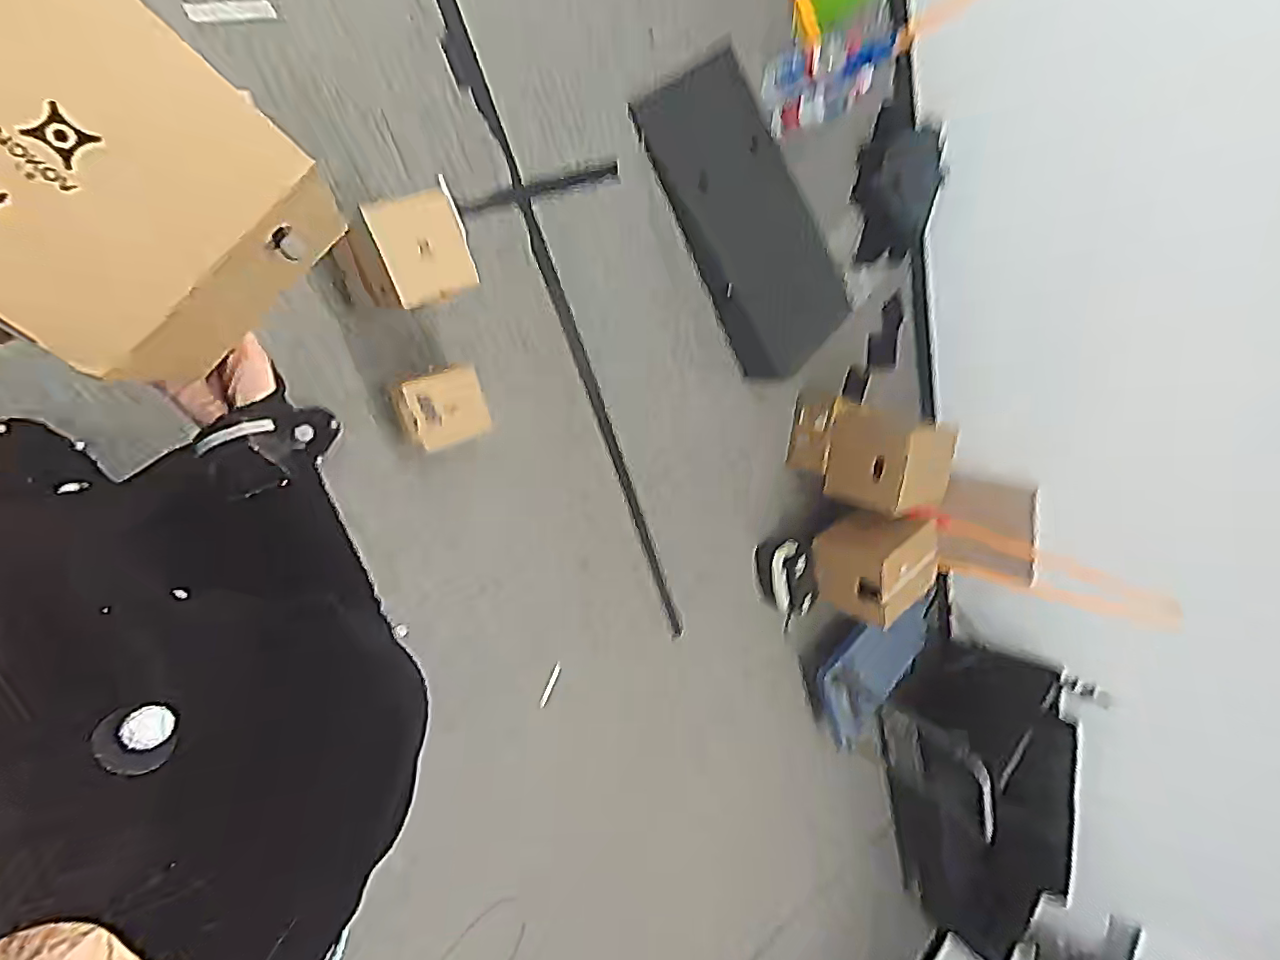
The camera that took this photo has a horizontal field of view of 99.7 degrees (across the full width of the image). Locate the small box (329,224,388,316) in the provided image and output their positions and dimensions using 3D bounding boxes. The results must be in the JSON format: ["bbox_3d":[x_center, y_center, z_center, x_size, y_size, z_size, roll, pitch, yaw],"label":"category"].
[{"bbox_3d":[-0.560,-0.466,1.196,0.168,0.176,0.179,-27,116,-31],"label":"small box"}]

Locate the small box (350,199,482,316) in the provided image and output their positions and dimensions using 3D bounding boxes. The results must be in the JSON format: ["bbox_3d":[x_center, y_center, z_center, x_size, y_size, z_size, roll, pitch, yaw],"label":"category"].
[{"bbox_3d":[-0.448,-0.435,1.080,0.168,0.176,0.179,-32,117,-29],"label":"small box"}]

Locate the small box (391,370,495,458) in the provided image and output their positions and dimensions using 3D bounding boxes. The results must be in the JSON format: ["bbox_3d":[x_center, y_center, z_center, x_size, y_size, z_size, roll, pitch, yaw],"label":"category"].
[{"bbox_3d":[-0.487,-0.167,1.322,0.179,0.176,0.168,-27,116,-32],"label":"small box"}]
